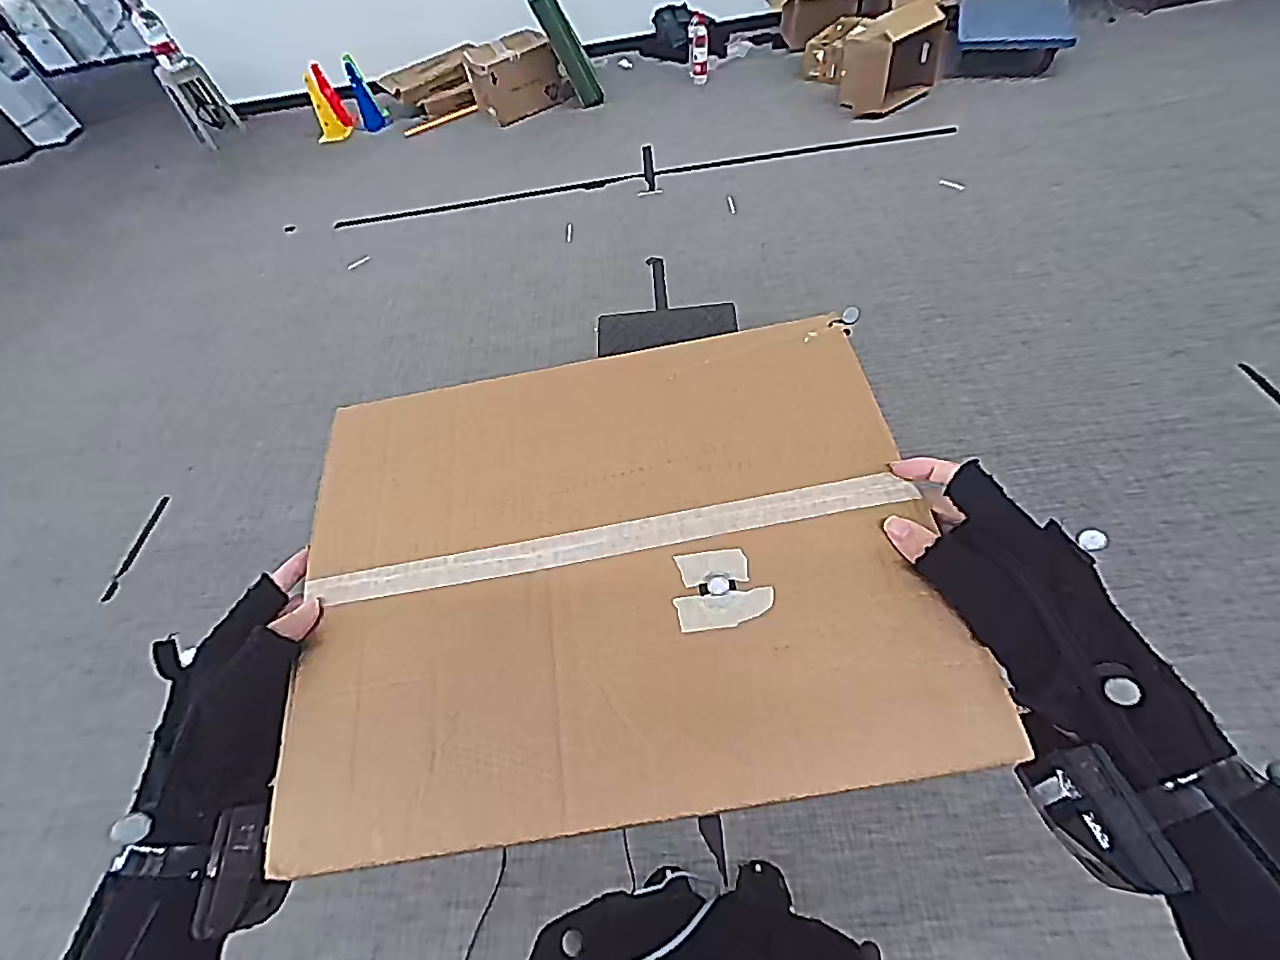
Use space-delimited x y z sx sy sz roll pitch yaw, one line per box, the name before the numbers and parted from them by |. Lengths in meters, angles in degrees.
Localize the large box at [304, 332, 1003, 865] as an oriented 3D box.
large box | -0.002 0.118 0.498 0.408 0.320 0.320 -10 61 1
